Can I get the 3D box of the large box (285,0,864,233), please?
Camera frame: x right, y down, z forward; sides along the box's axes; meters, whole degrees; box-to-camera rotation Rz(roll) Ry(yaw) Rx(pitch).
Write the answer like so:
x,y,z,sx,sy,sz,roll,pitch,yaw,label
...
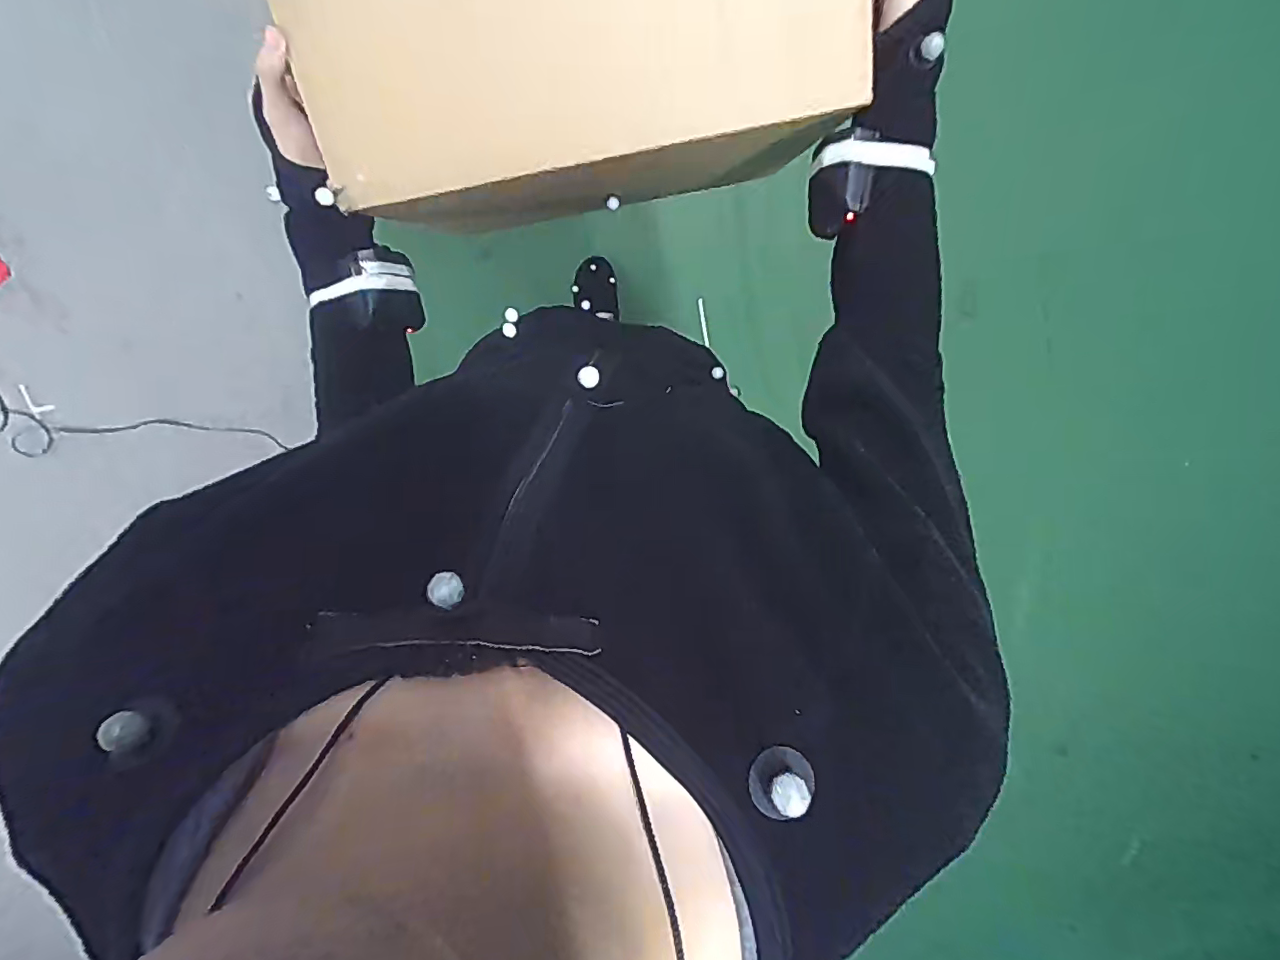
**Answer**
x,y,z,sx,sy,sz,roll,pitch,yaw,label
-0.055,-0.439,0.499,0.408,0.320,0.320,-10,110,5,large box
